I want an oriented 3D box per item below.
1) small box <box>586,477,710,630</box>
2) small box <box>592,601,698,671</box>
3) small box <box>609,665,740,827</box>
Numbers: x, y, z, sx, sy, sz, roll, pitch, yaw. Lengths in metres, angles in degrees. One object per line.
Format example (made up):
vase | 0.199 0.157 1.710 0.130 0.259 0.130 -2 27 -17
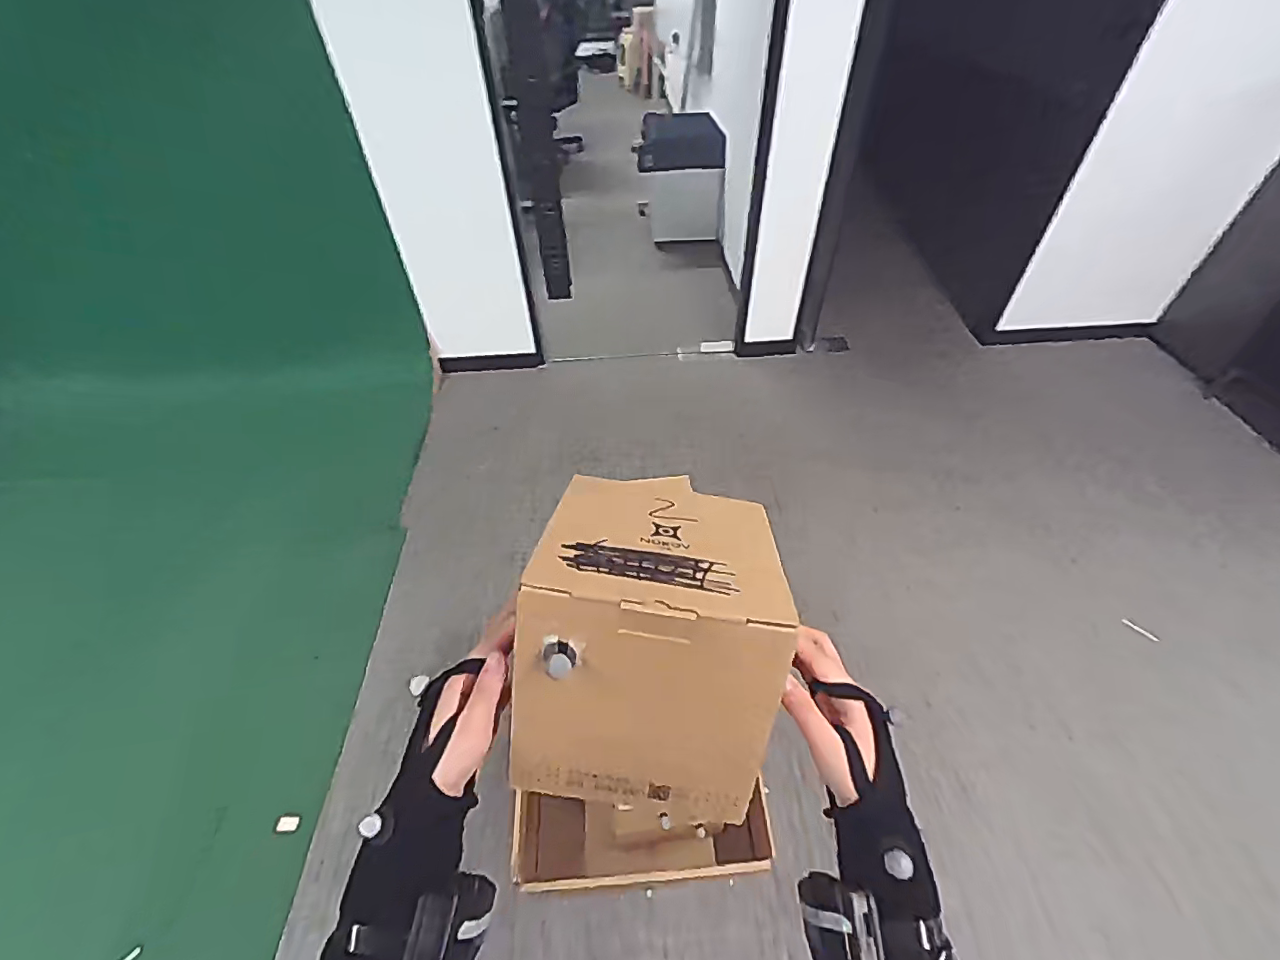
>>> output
small box | 0.008 0.119 0.831 0.168 0.176 0.179 -5 51 -4
small box | 0.002 0.223 0.956 0.168 0.176 0.179 -7 50 -5
small box | 0.044 0.397 0.799 0.168 0.176 0.179 -5 48 -3
